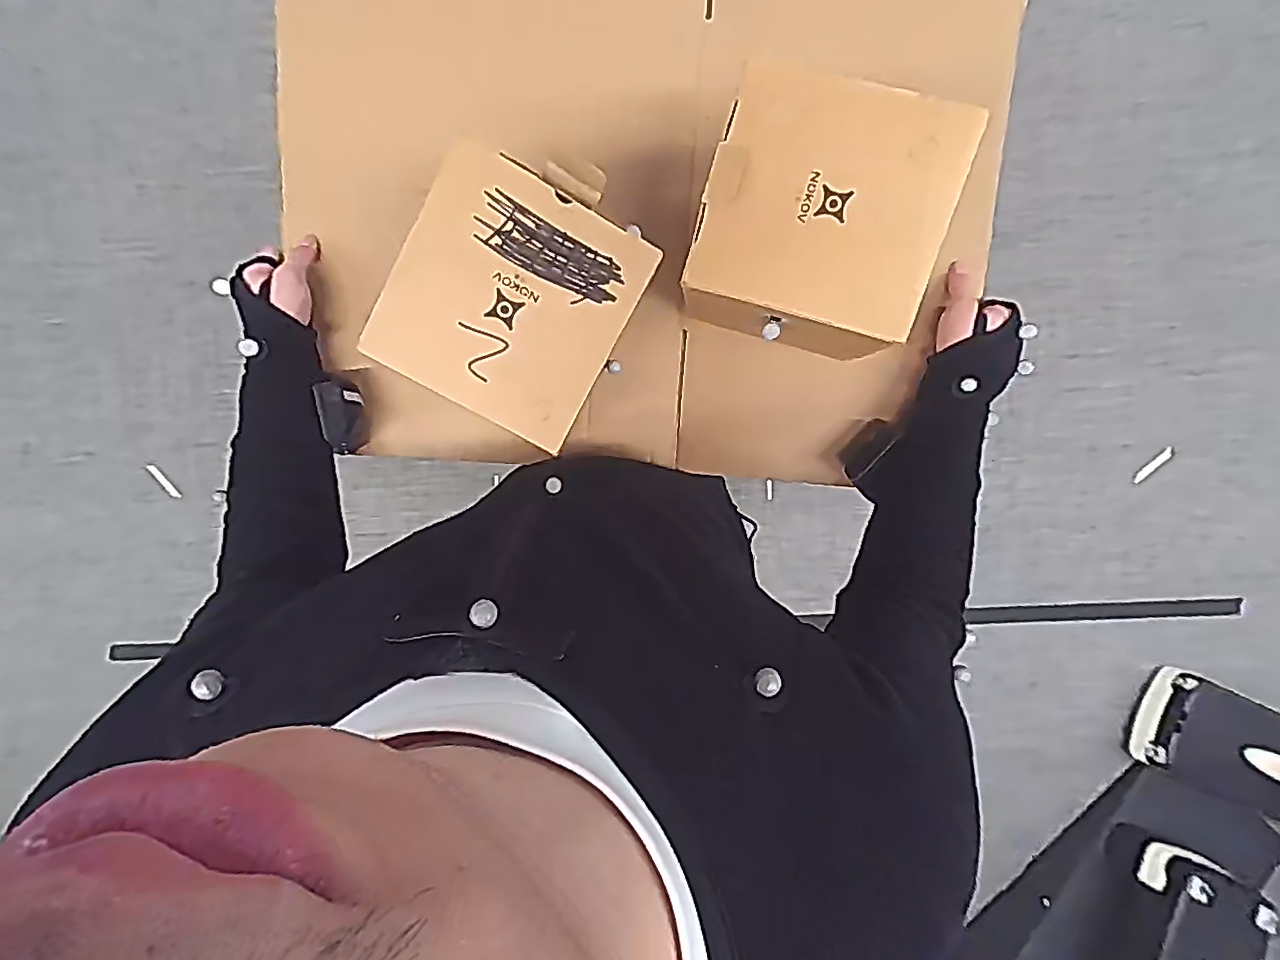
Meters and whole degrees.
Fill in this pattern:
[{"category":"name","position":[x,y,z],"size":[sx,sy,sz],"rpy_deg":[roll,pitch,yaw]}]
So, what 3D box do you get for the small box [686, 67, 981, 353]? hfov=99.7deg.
[{"category":"small box","position":[0.152,-0.217,0.486],"size":[0.179,0.176,0.168],"rpy_deg":[18,100,6]}]
